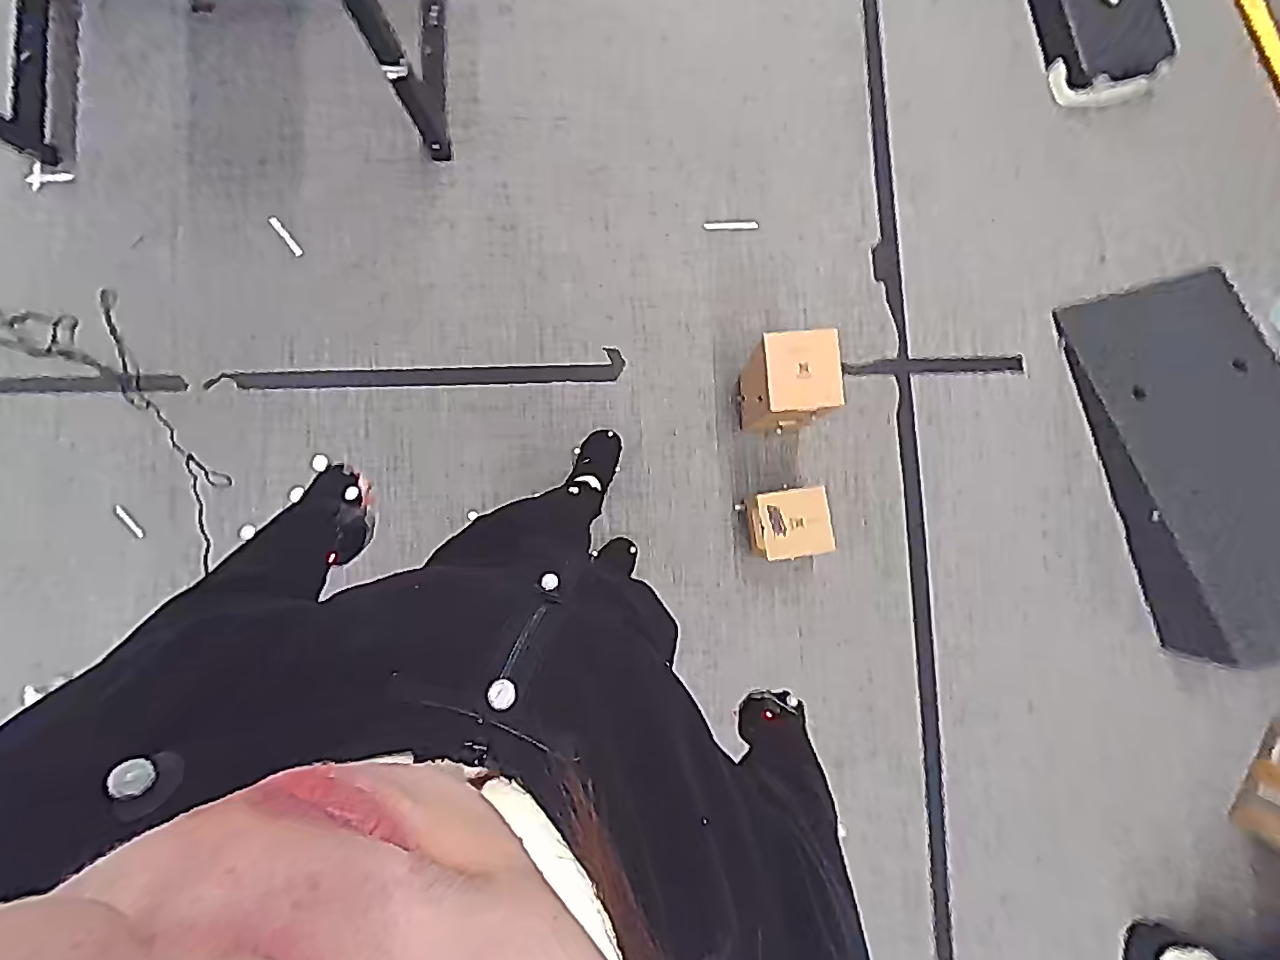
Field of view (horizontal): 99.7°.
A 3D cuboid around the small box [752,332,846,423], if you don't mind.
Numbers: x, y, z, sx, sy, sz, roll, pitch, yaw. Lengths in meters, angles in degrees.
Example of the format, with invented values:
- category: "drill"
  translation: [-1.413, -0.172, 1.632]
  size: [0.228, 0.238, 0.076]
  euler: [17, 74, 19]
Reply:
- category: "small box"
  translation: [0.361, -0.228, 1.253]
  size: [0.168, 0.176, 0.179]
  euler: [-3, 87, 0]

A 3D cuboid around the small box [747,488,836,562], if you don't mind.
- category: "small box"
  translation: [0.382, 0.116, 1.402]
  size: [0.179, 0.176, 0.168]
  euler: [-8, 87, -1]

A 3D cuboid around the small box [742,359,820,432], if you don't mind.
- category: "small box"
  translation: [0.365, -0.219, 1.417]
  size: [0.168, 0.176, 0.179]
  euler: [-1, 88, 0]
